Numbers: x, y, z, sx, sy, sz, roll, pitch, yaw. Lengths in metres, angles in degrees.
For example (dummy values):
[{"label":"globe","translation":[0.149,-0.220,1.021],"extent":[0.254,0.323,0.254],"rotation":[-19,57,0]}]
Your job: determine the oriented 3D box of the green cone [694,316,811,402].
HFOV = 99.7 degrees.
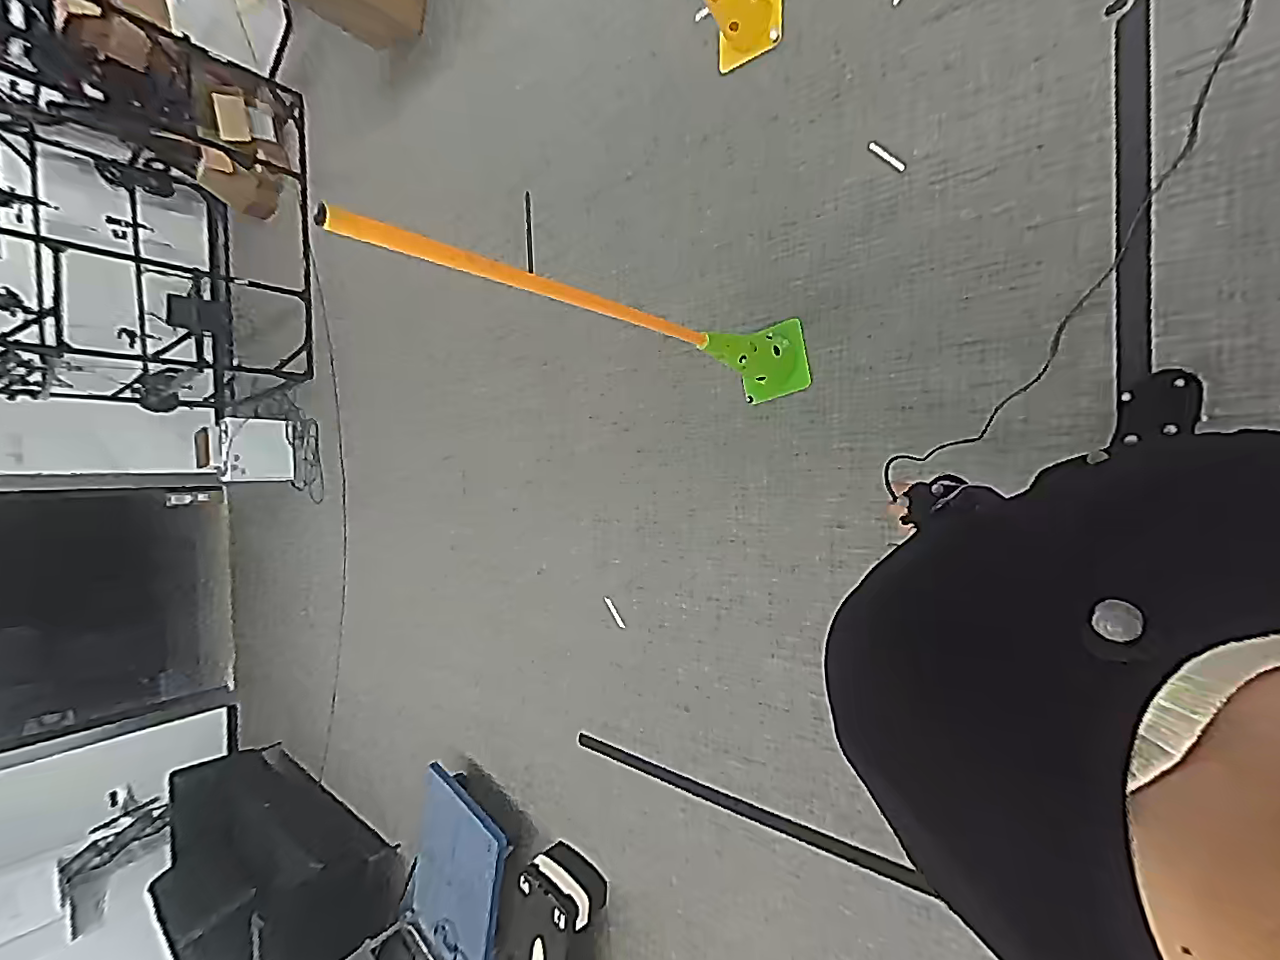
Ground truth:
[{"label":"green cone","translation":[0.261,-0.336,1.382],"extent":[0.200,0.368,0.202],"rotation":[-15,80,40]}]
